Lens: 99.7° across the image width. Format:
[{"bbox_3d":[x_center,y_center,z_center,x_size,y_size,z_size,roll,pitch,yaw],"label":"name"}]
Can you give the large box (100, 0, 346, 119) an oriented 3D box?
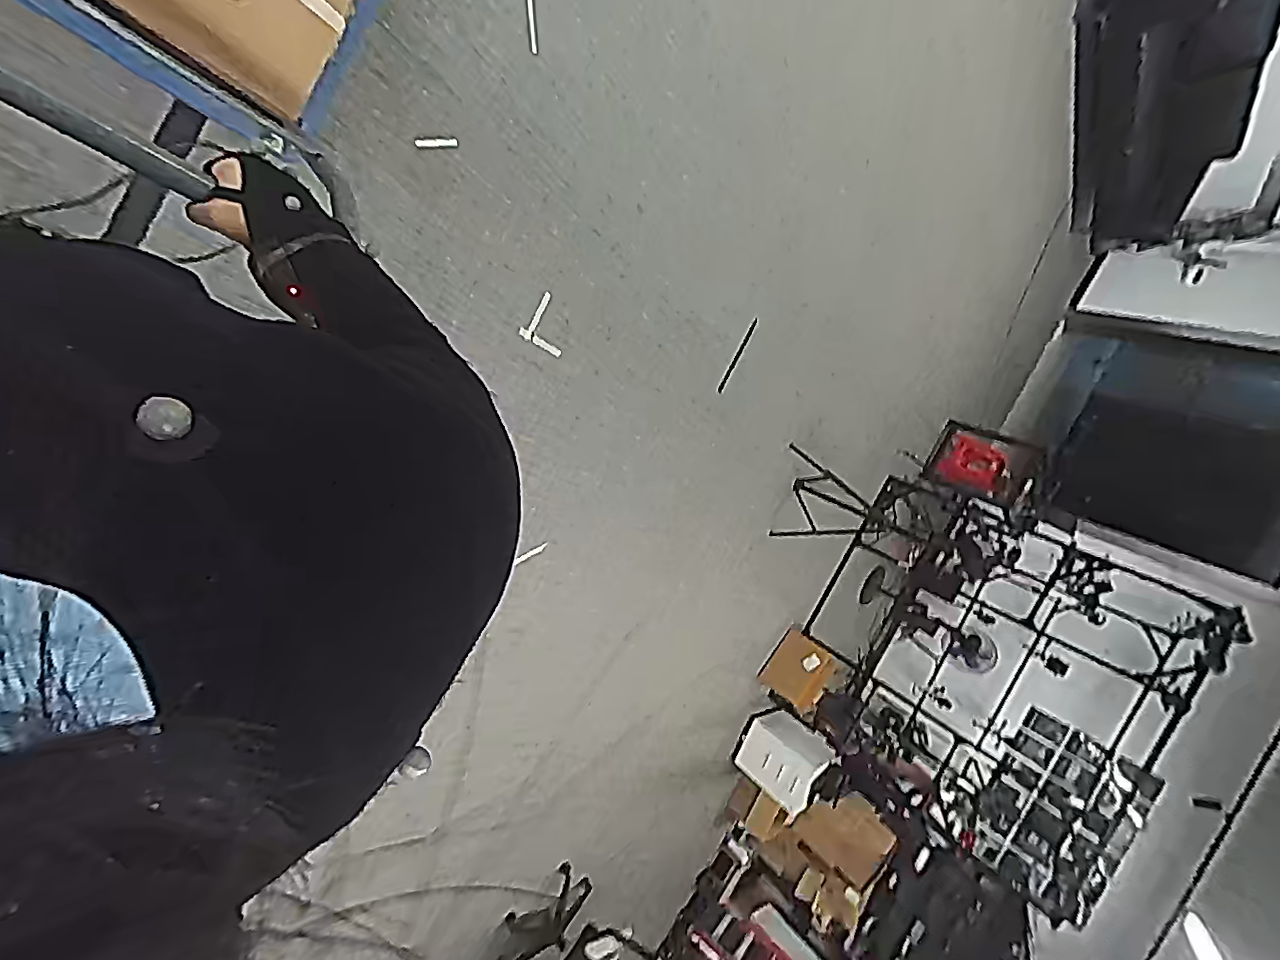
[{"bbox_3d":[-0.642,-0.777,0.709,0.408,0.320,0.320,21,108,-51],"label":"large box"}]
